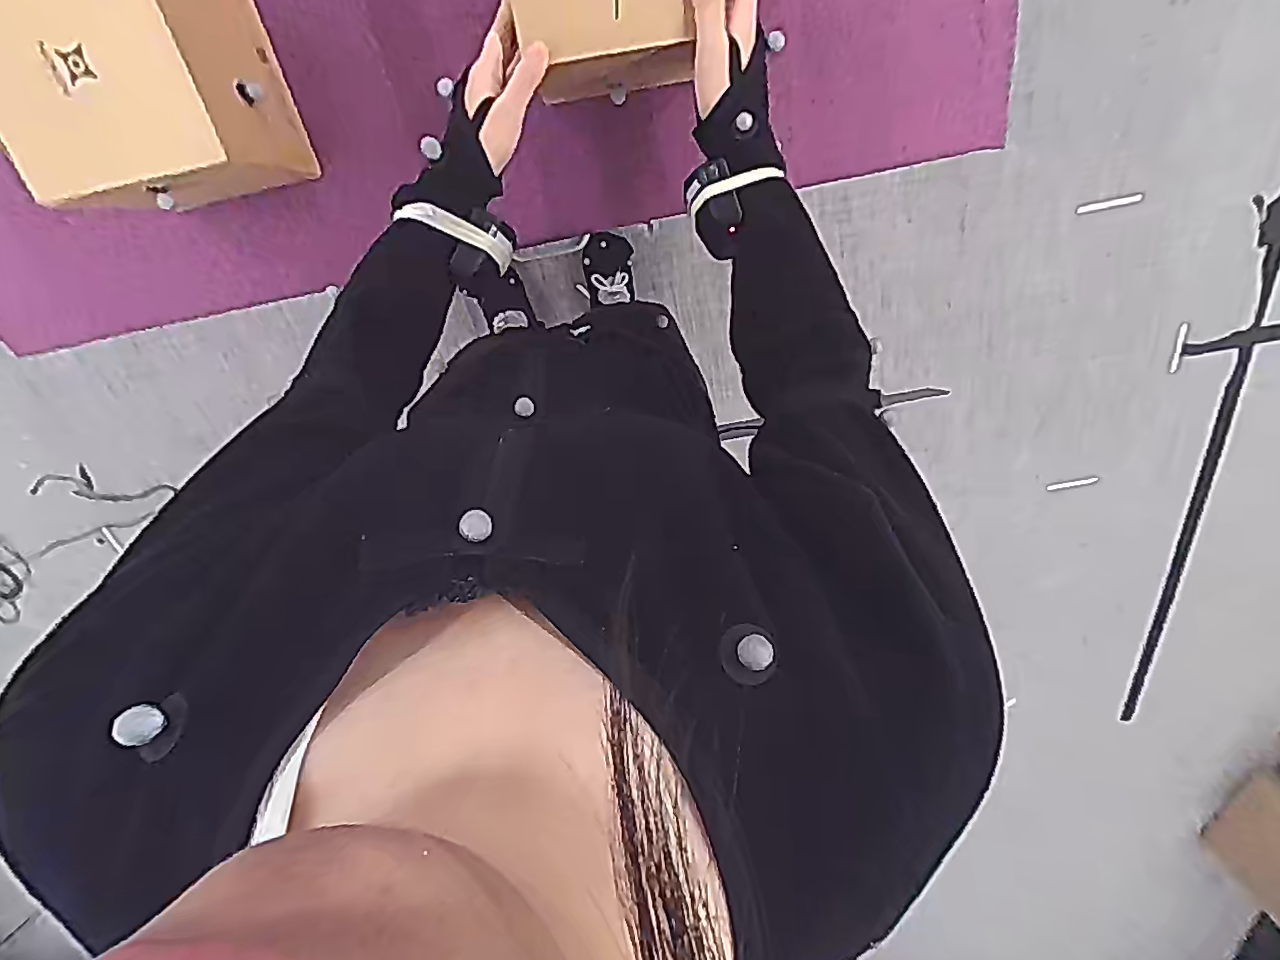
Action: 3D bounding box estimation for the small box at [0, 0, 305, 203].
[{"bbox_3d":[-0.444,-0.359,0.490,0.179,0.176,0.168,-11,117,3],"label":"small box"}]

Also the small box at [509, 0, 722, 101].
[{"bbox_3d":[-0.029,-0.452,0.462,0.168,0.176,0.179,-8,118,1],"label":"small box"}]
